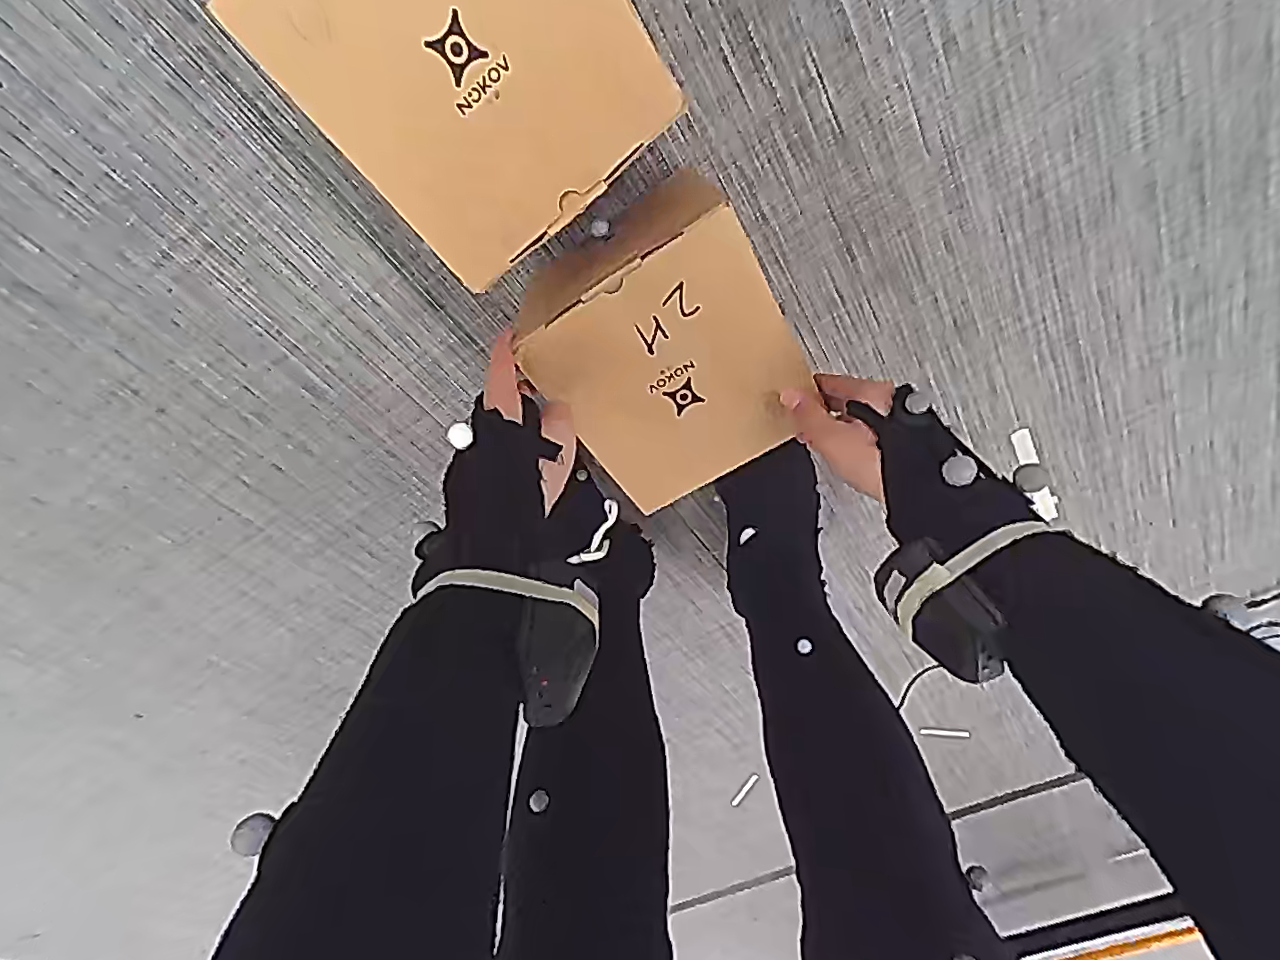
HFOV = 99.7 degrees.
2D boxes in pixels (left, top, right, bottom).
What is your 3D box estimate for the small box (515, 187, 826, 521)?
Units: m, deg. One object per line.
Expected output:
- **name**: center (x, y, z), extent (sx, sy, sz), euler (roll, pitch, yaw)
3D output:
- **small box**: center (0.023, -0.105, 0.443), extent (0.168, 0.176, 0.179), euler (-29, 124, 14)
